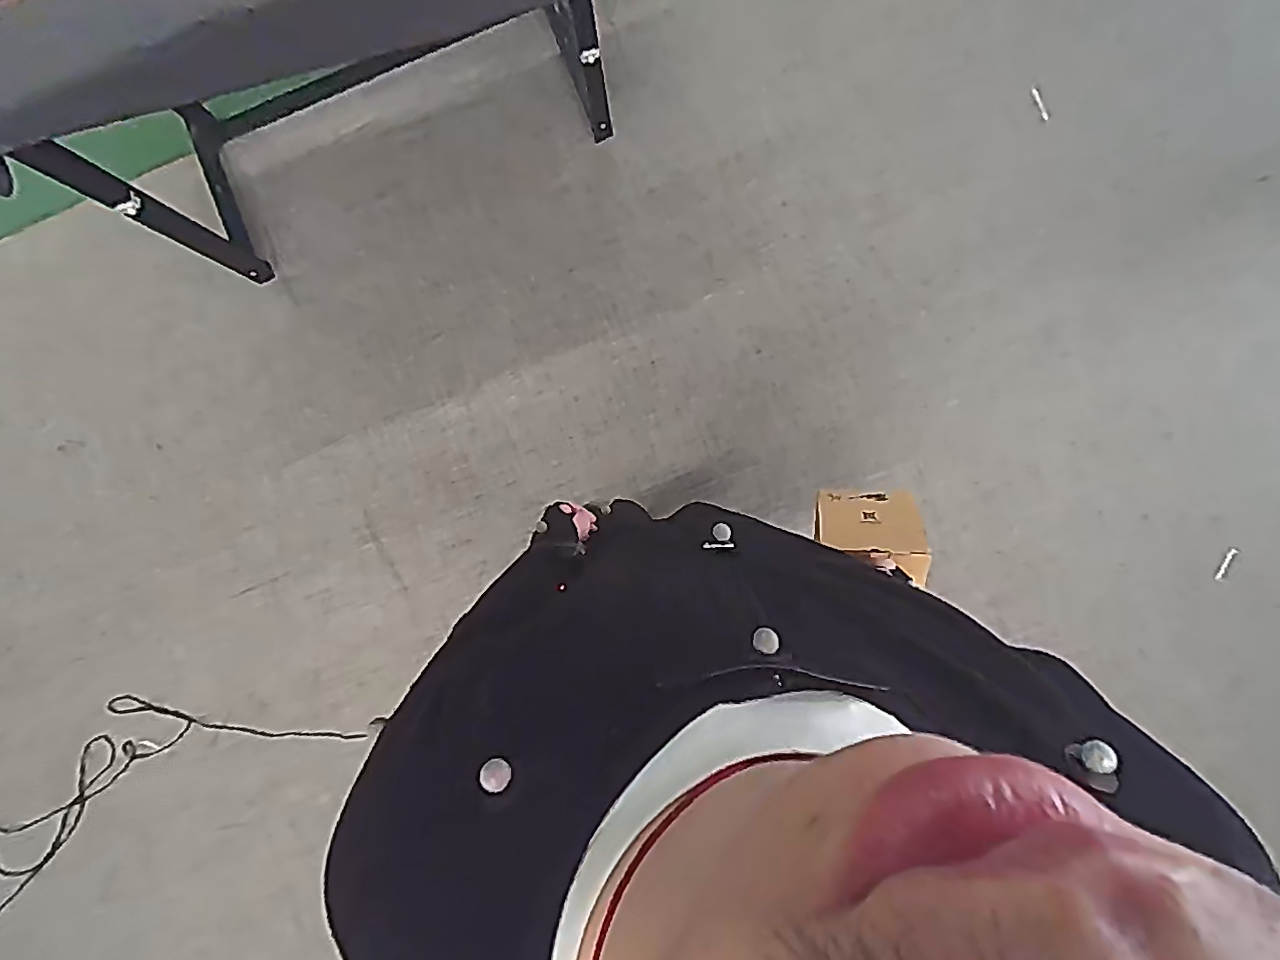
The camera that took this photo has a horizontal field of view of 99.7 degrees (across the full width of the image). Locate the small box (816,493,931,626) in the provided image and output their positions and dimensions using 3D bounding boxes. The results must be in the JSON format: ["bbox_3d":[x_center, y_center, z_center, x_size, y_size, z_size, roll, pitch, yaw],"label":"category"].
[{"bbox_3d":[0.407,0.142,0.968,0.168,0.179,0.176,-1,123,15],"label":"small box"}]
